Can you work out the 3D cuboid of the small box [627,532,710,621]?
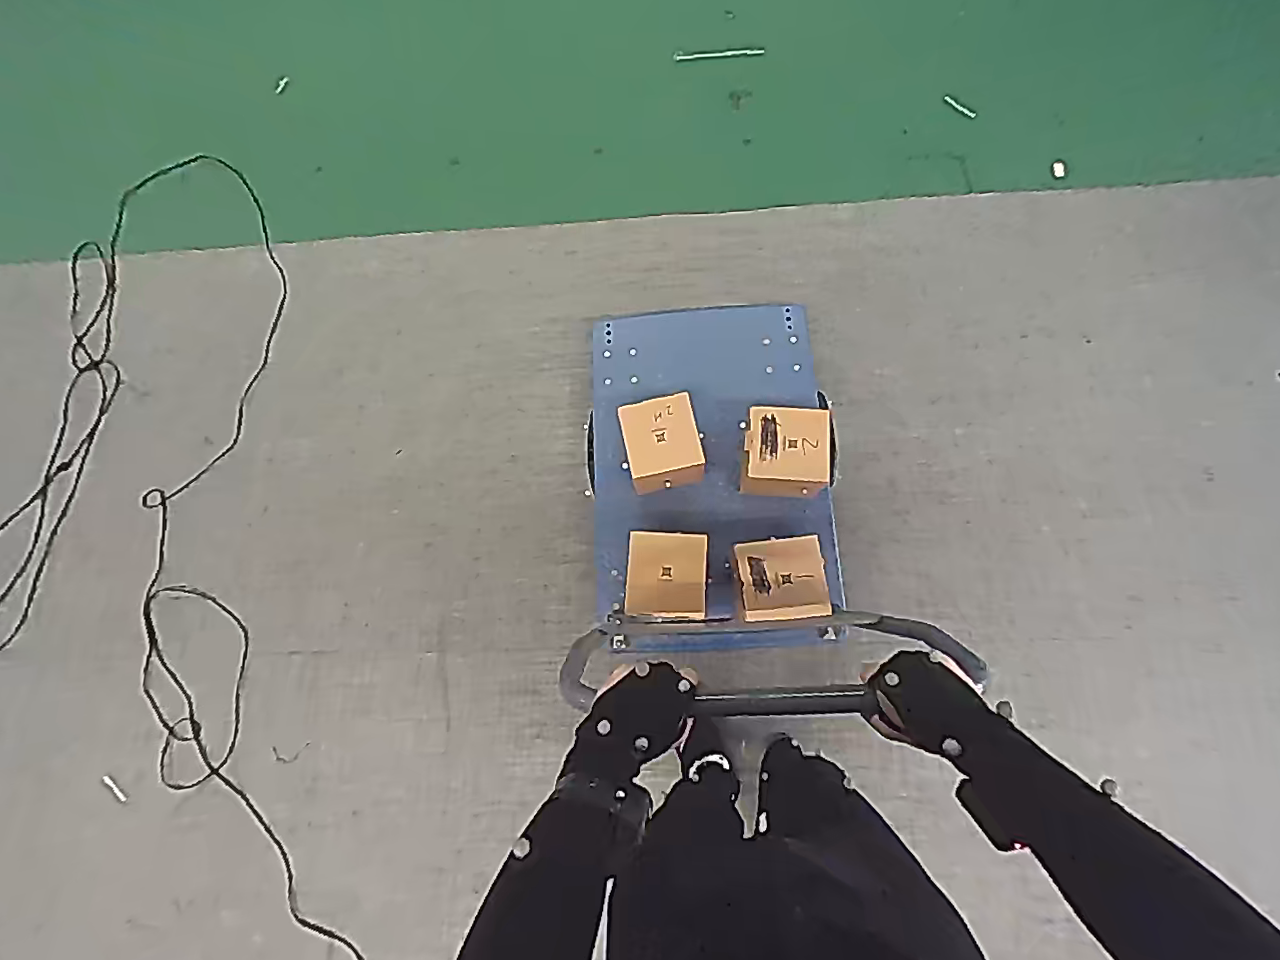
[{"bbox_3d":[0.063,0.219,1.203,0.168,0.176,0.179,3,76,4],"label":"small box"}]

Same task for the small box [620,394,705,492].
[{"bbox_3d":[0.056,-0.078,1.278,0.168,0.176,0.179,-12,75,0],"label":"small box"}]
